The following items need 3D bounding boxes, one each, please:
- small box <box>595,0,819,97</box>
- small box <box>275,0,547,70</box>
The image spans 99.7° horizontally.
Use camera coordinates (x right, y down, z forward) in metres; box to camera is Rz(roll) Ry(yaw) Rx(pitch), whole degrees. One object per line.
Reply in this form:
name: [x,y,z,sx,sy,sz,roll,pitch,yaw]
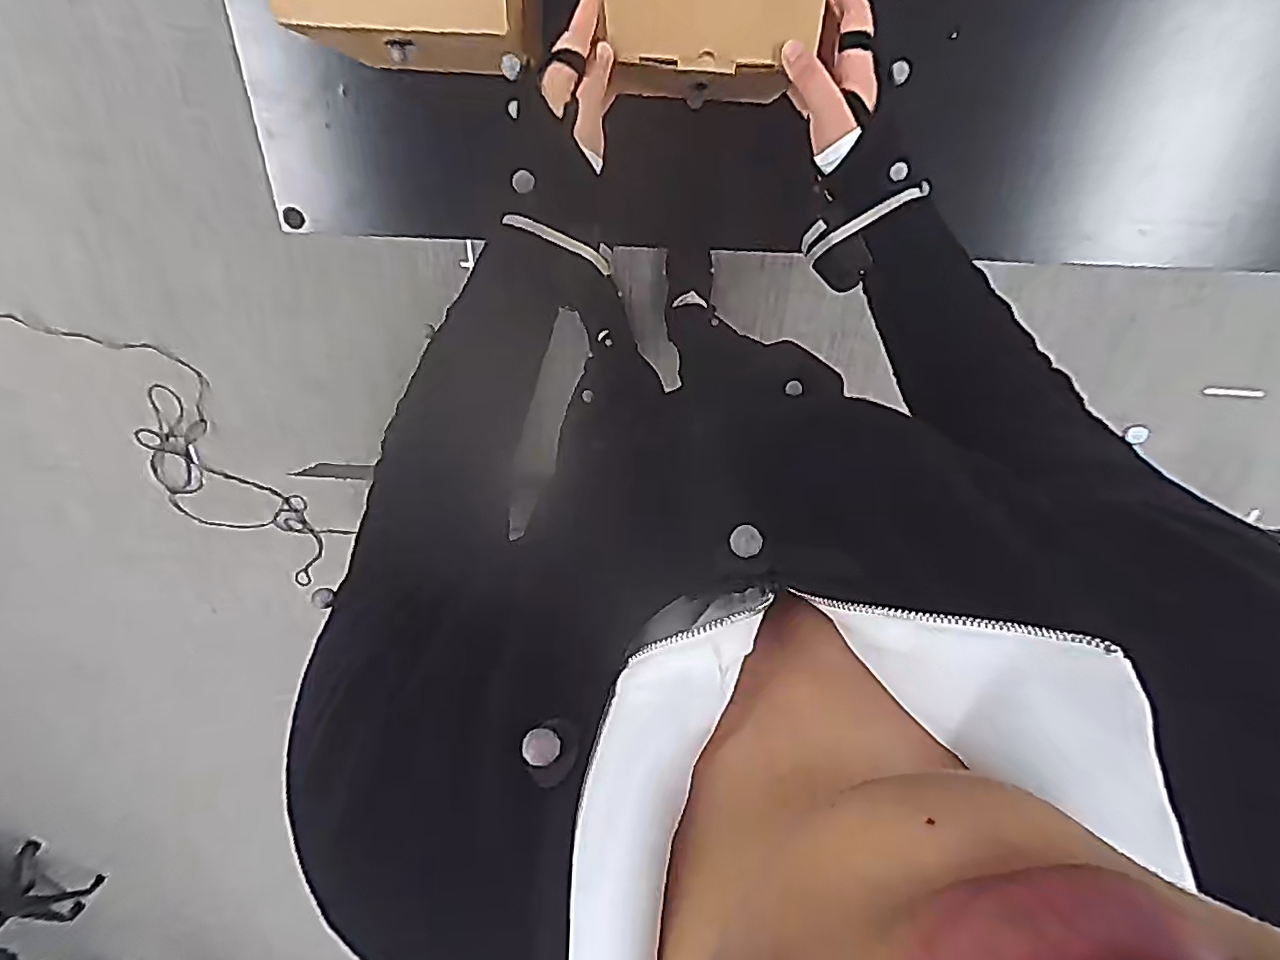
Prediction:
small box: [0.055,-0.430,0.441,0.168,0.176,0.179,3,119,-1]
small box: [-0.177,-0.448,0.435,0.179,0.176,0.168,2,119,-1]
